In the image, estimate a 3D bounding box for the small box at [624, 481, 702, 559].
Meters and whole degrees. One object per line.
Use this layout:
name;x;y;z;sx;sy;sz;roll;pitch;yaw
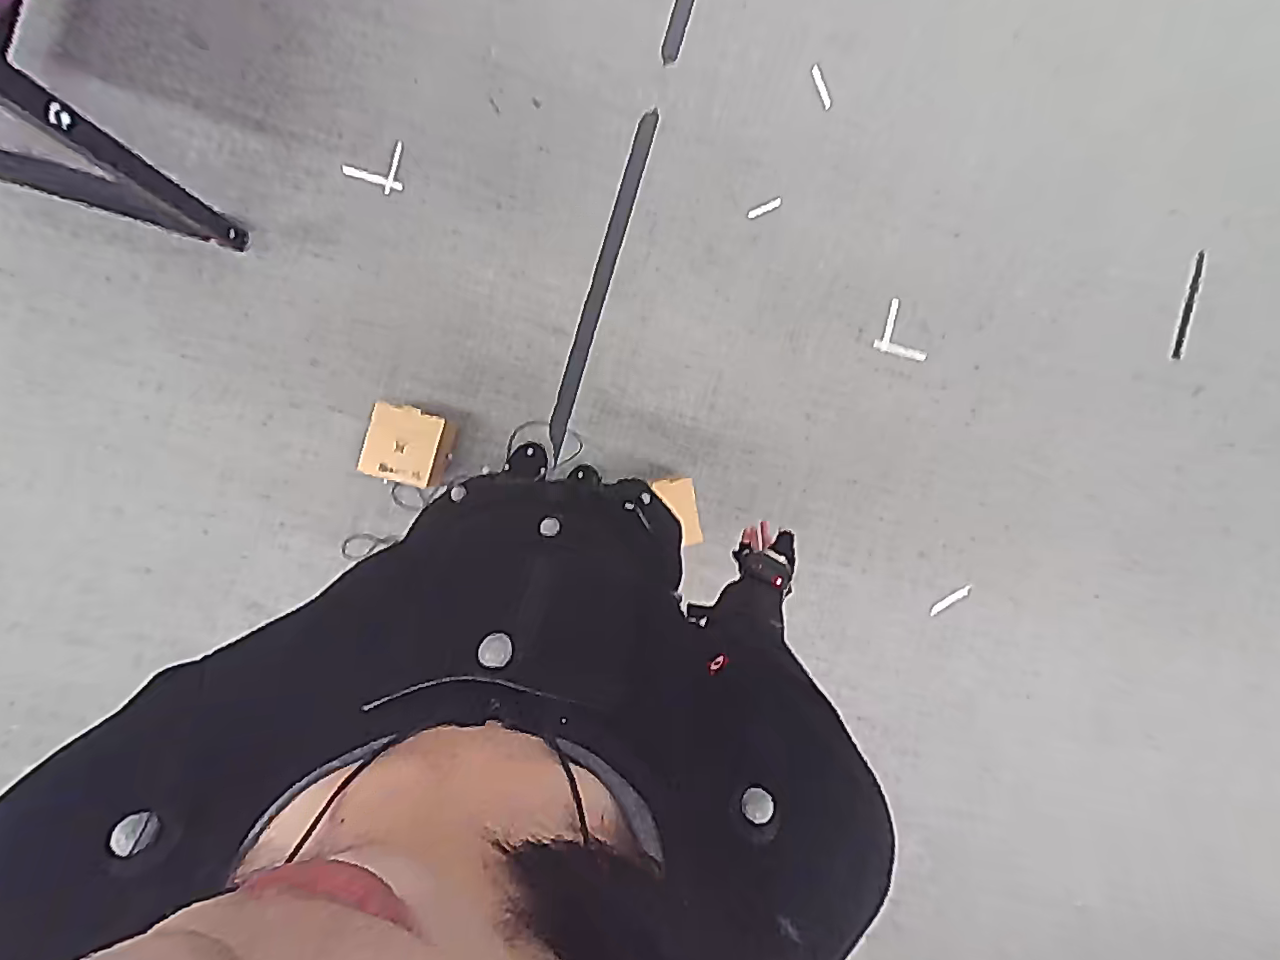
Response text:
small box;0.056;0.100;1.460;0.168;0.176;0.179;-12;94;-6

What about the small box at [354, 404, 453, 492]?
small box;-0.584;-0.074;1.362;0.168;0.176;0.179;16;87;-8
